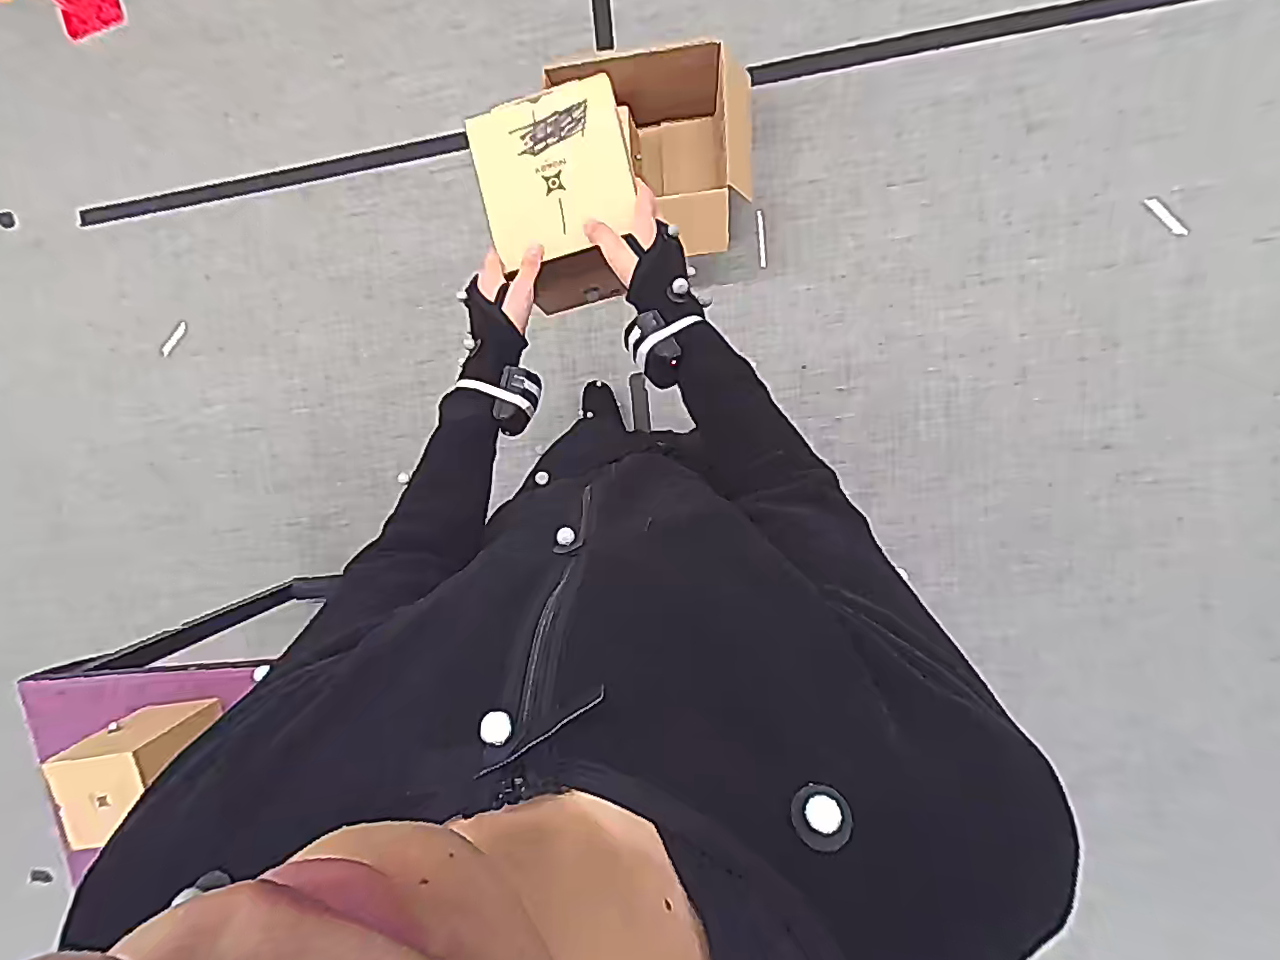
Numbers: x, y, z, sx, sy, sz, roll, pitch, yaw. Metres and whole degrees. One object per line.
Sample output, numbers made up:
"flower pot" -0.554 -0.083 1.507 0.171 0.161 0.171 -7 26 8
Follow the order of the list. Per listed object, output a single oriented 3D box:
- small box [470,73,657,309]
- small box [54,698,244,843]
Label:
"small box" -0.082 -0.335 0.663 0.168 0.176 0.179 -14 90 8
"small box" -0.883 0.521 0.987 0.179 0.176 0.168 -9 97 8
